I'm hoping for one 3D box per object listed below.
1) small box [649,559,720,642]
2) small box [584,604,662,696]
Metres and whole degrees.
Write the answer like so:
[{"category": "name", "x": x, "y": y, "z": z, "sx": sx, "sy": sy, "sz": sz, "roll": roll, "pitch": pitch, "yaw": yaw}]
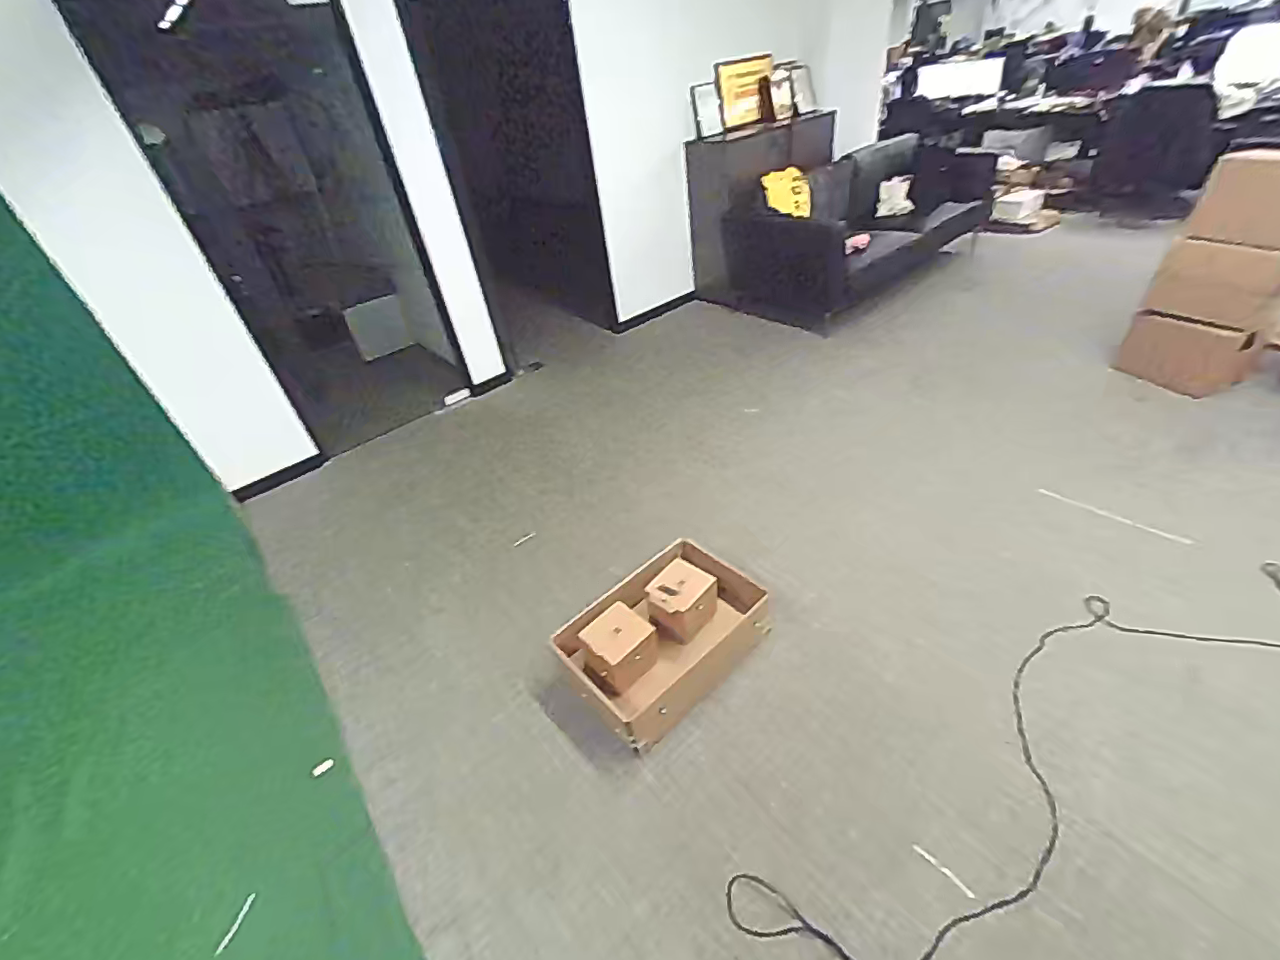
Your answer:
[{"category": "small box", "x": 0.157, "y": 0.405, "z": 1.801, "sx": 0.168, "sy": 0.176, "sz": 0.179, "roll": 24, "pitch": 49, "yaw": 36}, {"category": "small box", "x": -0.045, "y": 0.531, "z": 1.683, "sx": 0.179, "sy": 0.176, "sz": 0.168, "roll": -35, "pitch": 45, "yaw": -31}]
